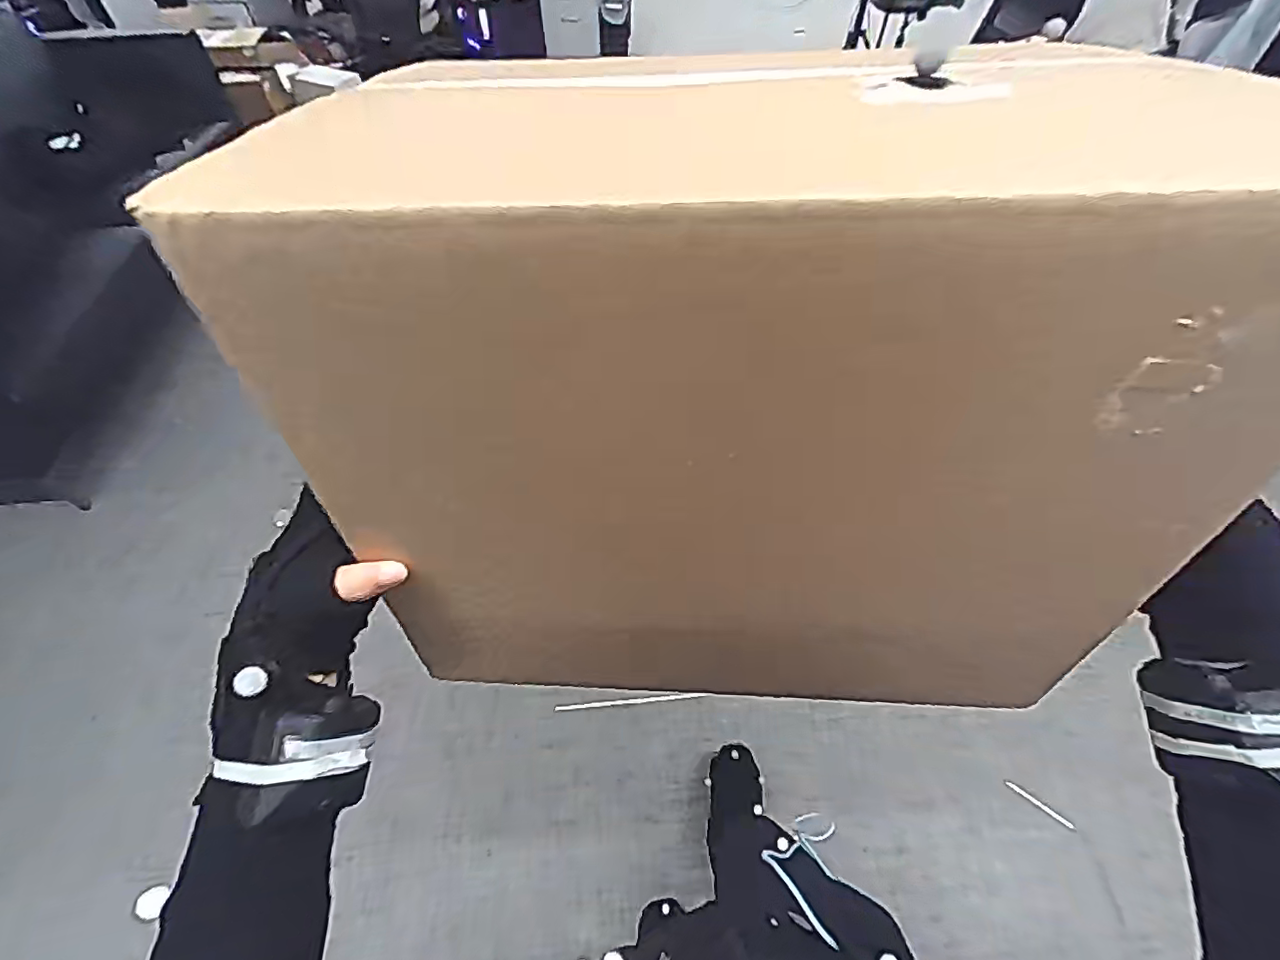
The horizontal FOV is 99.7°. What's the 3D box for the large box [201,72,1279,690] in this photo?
[{"bbox_3d":[0.059,-0.072,0.379,0.408,0.320,0.320,1,44,4],"label":"large box"}]
